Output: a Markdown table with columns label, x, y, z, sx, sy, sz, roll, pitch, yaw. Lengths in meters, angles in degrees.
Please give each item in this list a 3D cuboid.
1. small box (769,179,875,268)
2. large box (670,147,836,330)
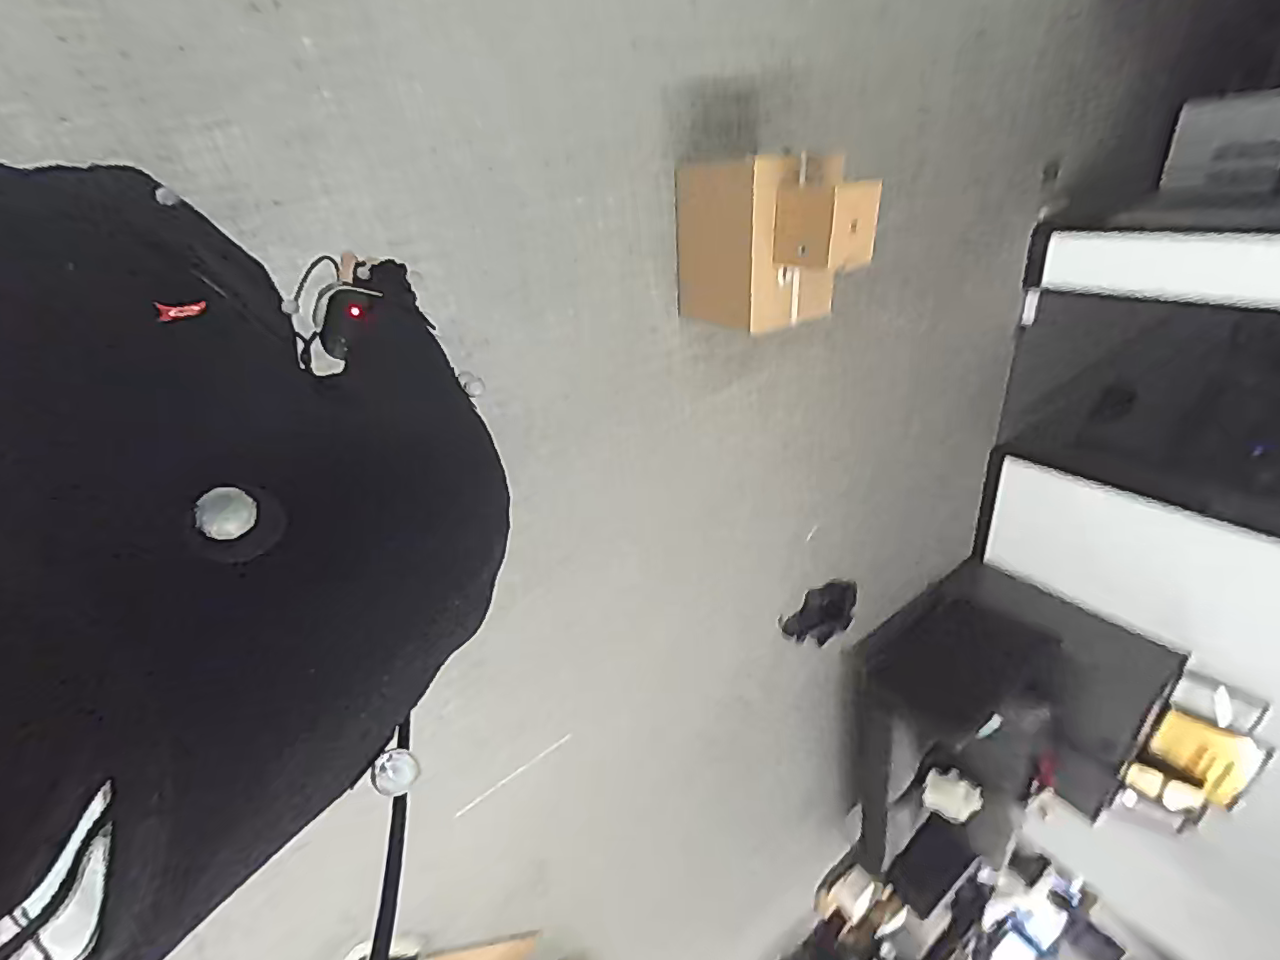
| label | x | y | z | sx | sy | sz | roll | pitch | yaw |
| --- | --- | --- | --- | --- | --- | --- | --- | --- | --- |
| small box | 0.426 | -0.613 | 1.289 | 0.168 | 0.176 | 0.179 | -21 | 122 | -29 |
| large box | 0.300 | -0.669 | 1.493 | 0.320 | 0.320 | 0.408 | -21 | 124 | -26 |
